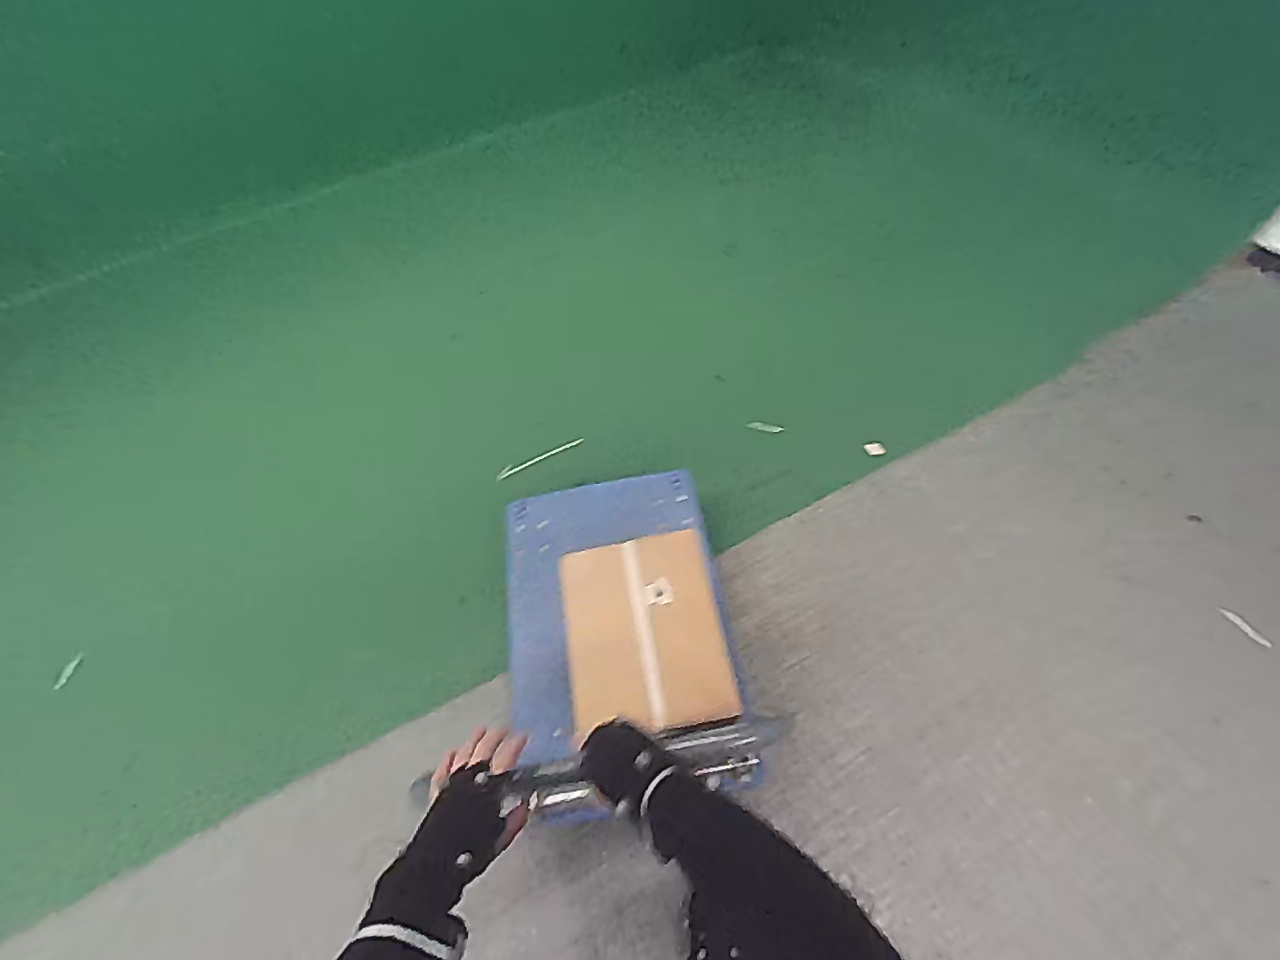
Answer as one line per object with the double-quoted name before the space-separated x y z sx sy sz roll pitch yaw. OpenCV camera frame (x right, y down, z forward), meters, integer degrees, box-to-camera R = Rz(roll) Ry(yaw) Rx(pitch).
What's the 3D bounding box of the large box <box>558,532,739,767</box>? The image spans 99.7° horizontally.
"large box" 0.014 0.390 1.238 0.320 0.320 0.408 -11 56 -2
